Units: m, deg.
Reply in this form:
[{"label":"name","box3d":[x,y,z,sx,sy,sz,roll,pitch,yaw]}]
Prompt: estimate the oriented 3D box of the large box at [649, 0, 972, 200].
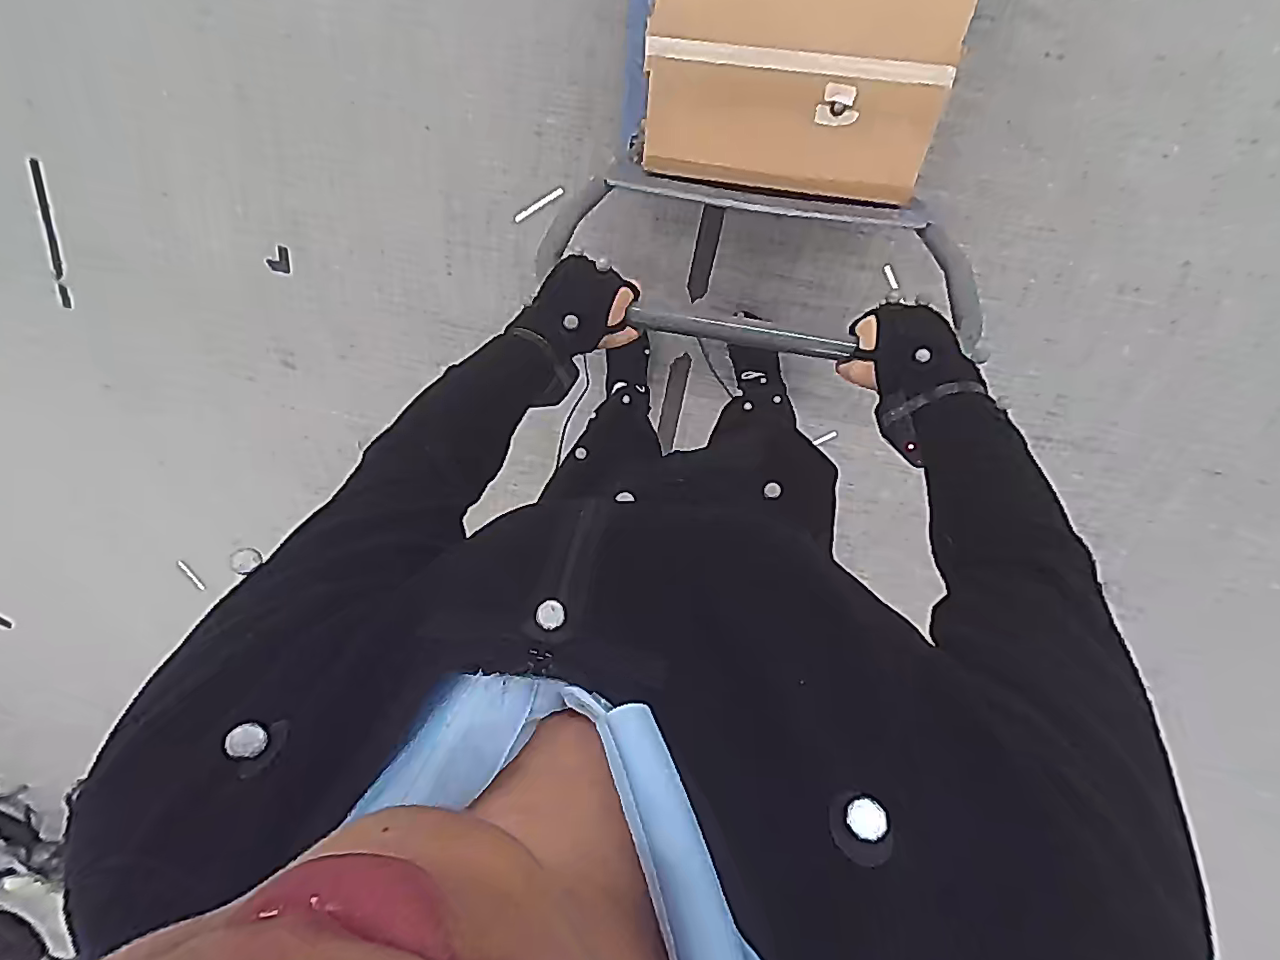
[{"label":"large box","box3d":[0.242,-0.662,0.863,0.408,0.320,0.320,10,128,5]}]
